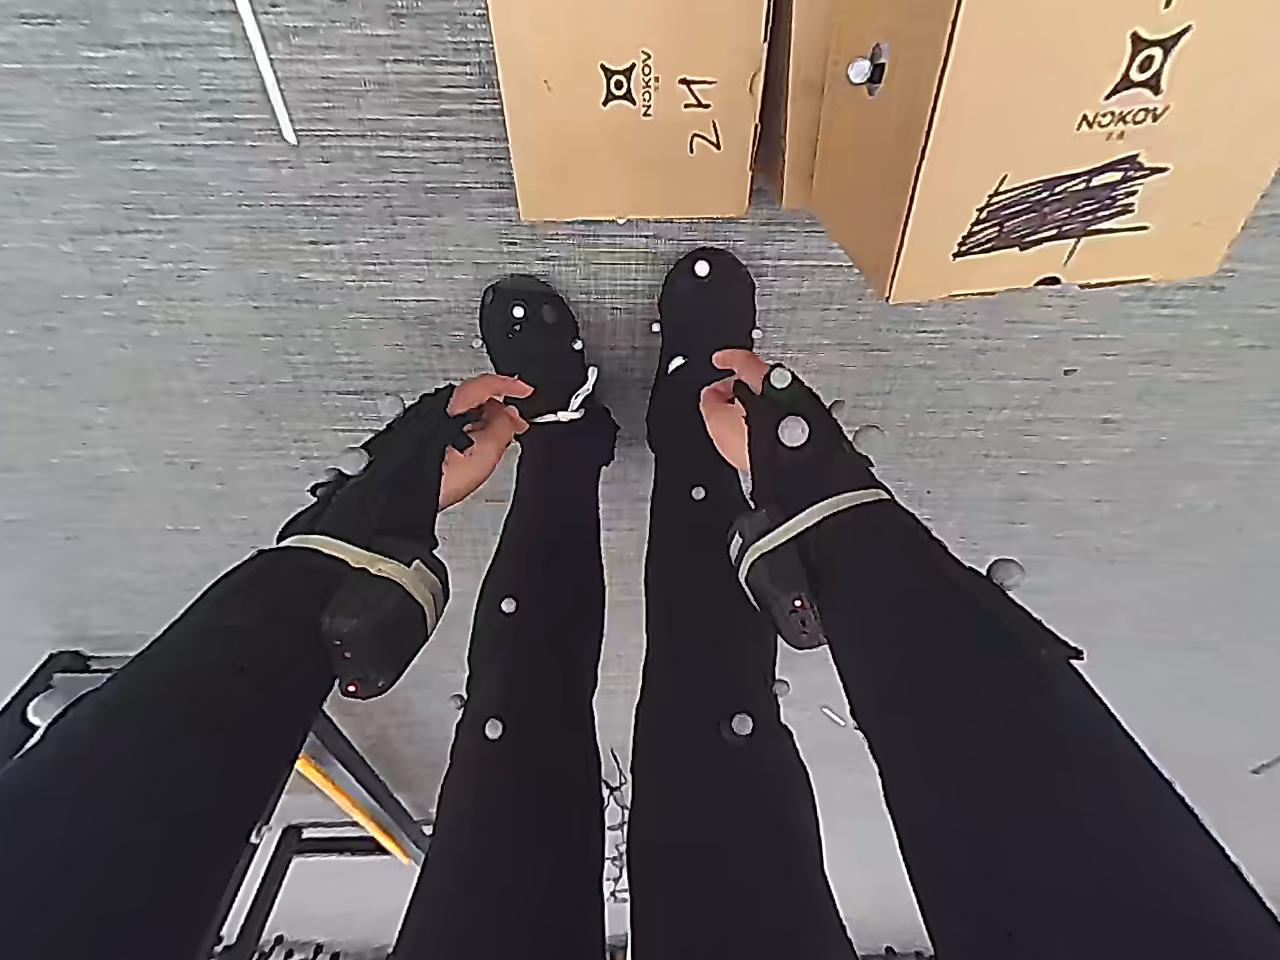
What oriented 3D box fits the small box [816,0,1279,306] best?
[{"bbox_3d":[0.203,-0.215,0.289,0.168,0.176,0.179,-4,131,2],"label":"small box"}]
